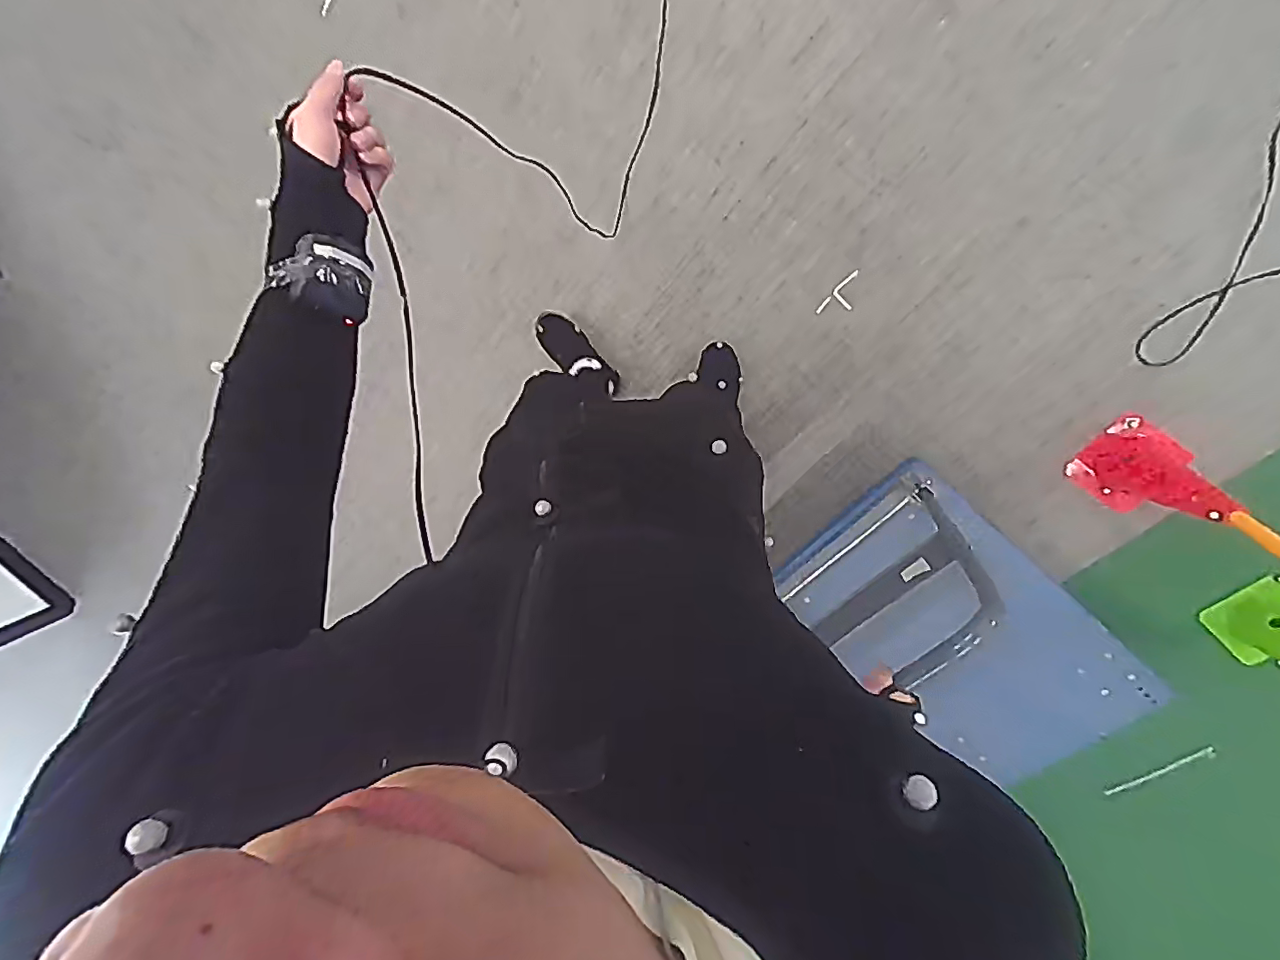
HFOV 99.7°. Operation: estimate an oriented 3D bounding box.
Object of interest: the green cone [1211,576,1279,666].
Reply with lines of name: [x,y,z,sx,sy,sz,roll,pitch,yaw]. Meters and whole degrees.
green cone: [1.542,0.405,1.189,0.202,0.368,0.200,42,112,-3]
